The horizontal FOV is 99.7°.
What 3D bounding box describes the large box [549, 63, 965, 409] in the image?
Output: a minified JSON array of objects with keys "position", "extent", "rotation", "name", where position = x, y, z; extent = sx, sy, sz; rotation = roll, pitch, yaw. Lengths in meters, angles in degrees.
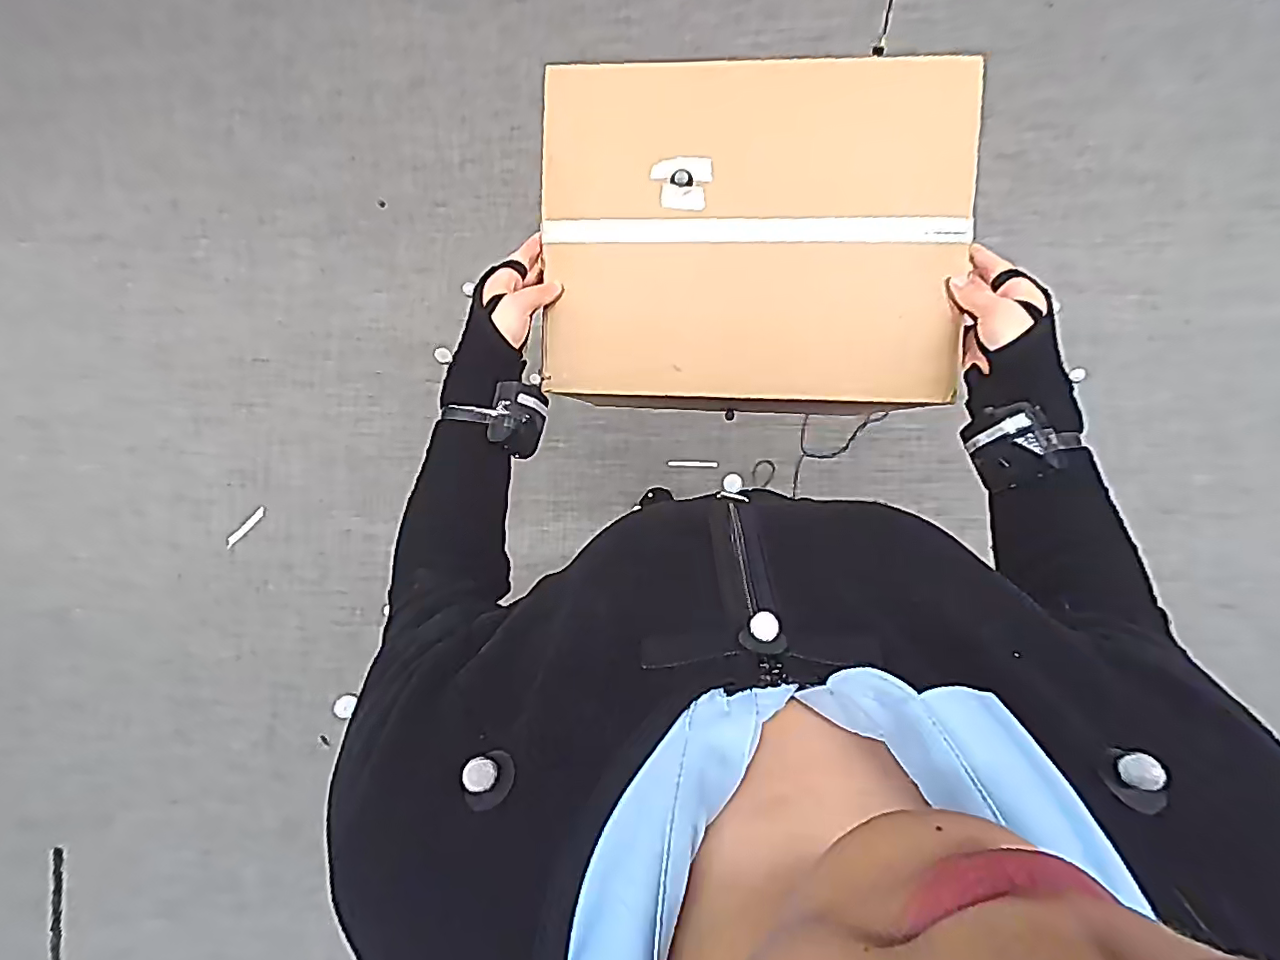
[{"position":[0.122,-0.250,0.680],"extent":[0.408,0.320,0.320],"rotation":[1,93,6],"name":"large box"}]
